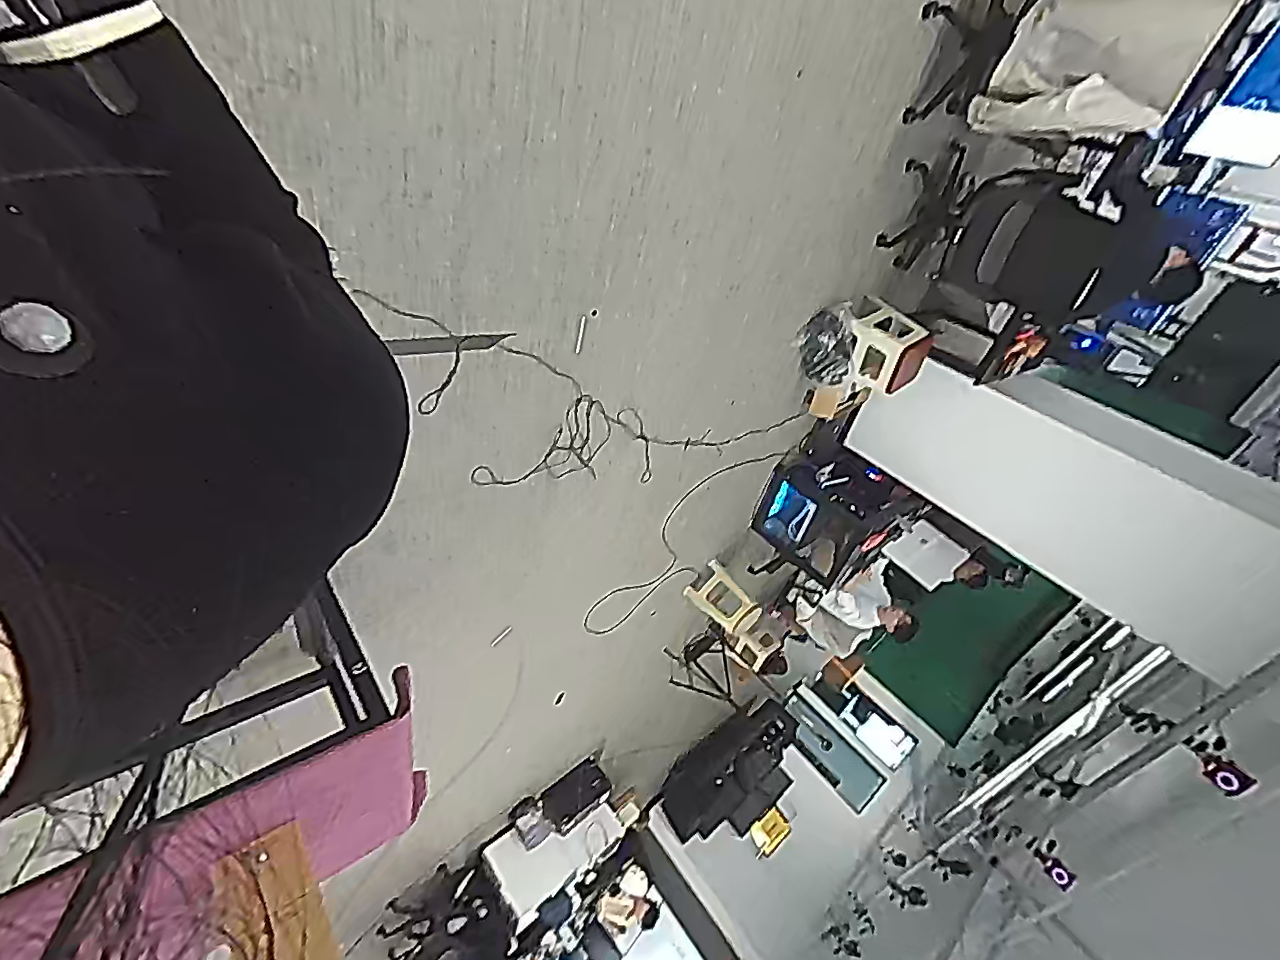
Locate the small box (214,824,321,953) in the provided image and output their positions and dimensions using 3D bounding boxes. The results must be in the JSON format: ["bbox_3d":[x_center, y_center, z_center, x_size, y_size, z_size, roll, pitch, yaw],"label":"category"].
[{"bbox_3d":[-0.826,0.921,1.210,0.168,0.176,0.179,-16,135,-40],"label":"small box"}]

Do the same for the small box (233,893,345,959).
[{"bbox_3d":[-0.722,1.013,1.123,0.168,0.176,0.179,-15,135,-41],"label":"small box"}]
